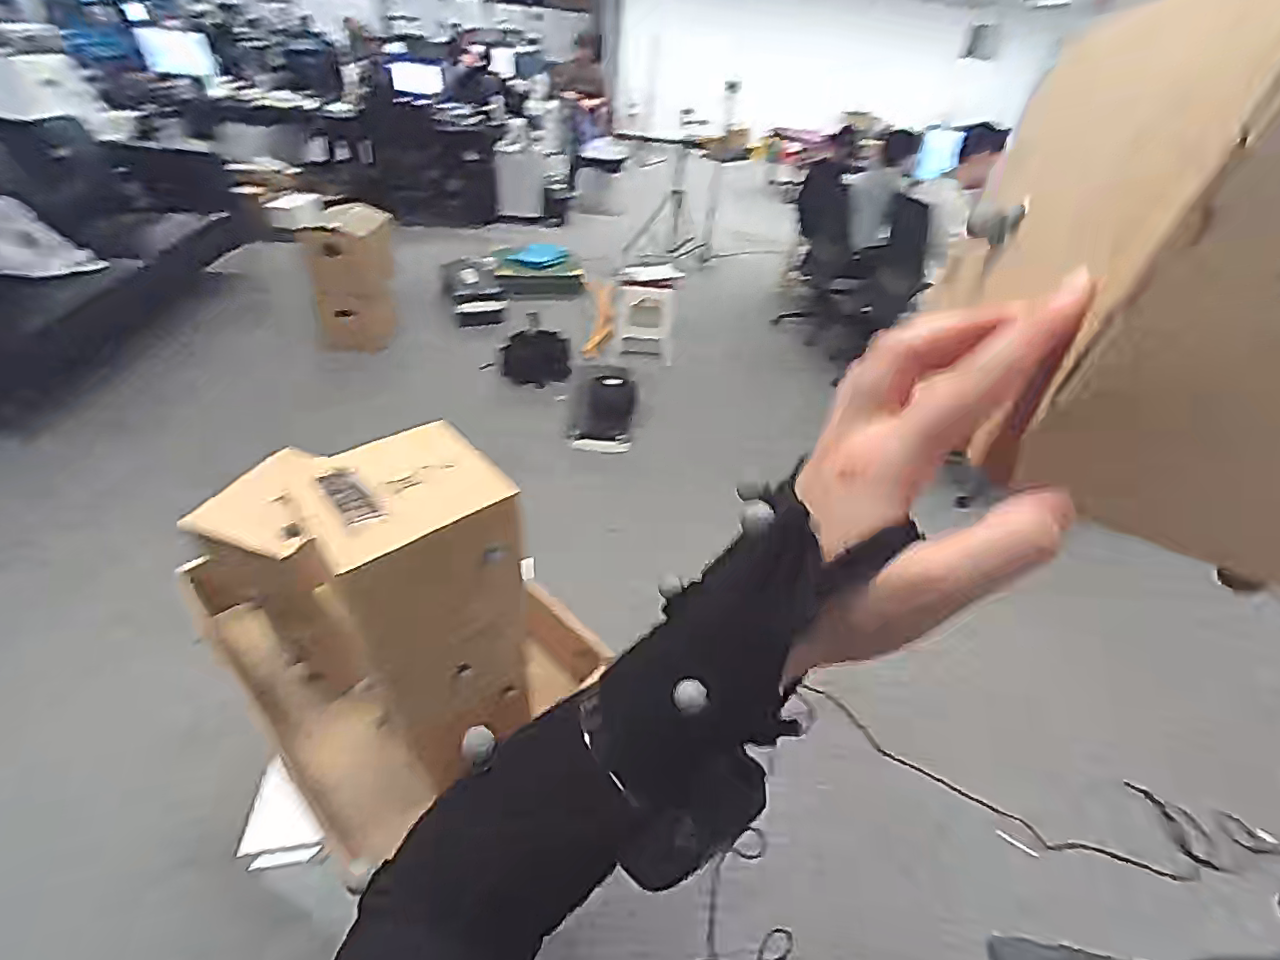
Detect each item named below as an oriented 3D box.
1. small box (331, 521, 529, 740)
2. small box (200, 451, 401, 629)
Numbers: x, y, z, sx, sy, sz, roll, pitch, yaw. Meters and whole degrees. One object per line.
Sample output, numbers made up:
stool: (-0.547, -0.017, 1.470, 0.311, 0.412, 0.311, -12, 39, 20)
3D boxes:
small box: (-0.261, 0.191, 0.706, 0.168, 0.176, 0.179, 33, 48, 32)
small box: (-0.483, 0.087, 0.806, 0.168, 0.176, 0.179, 14, 42, 11)
